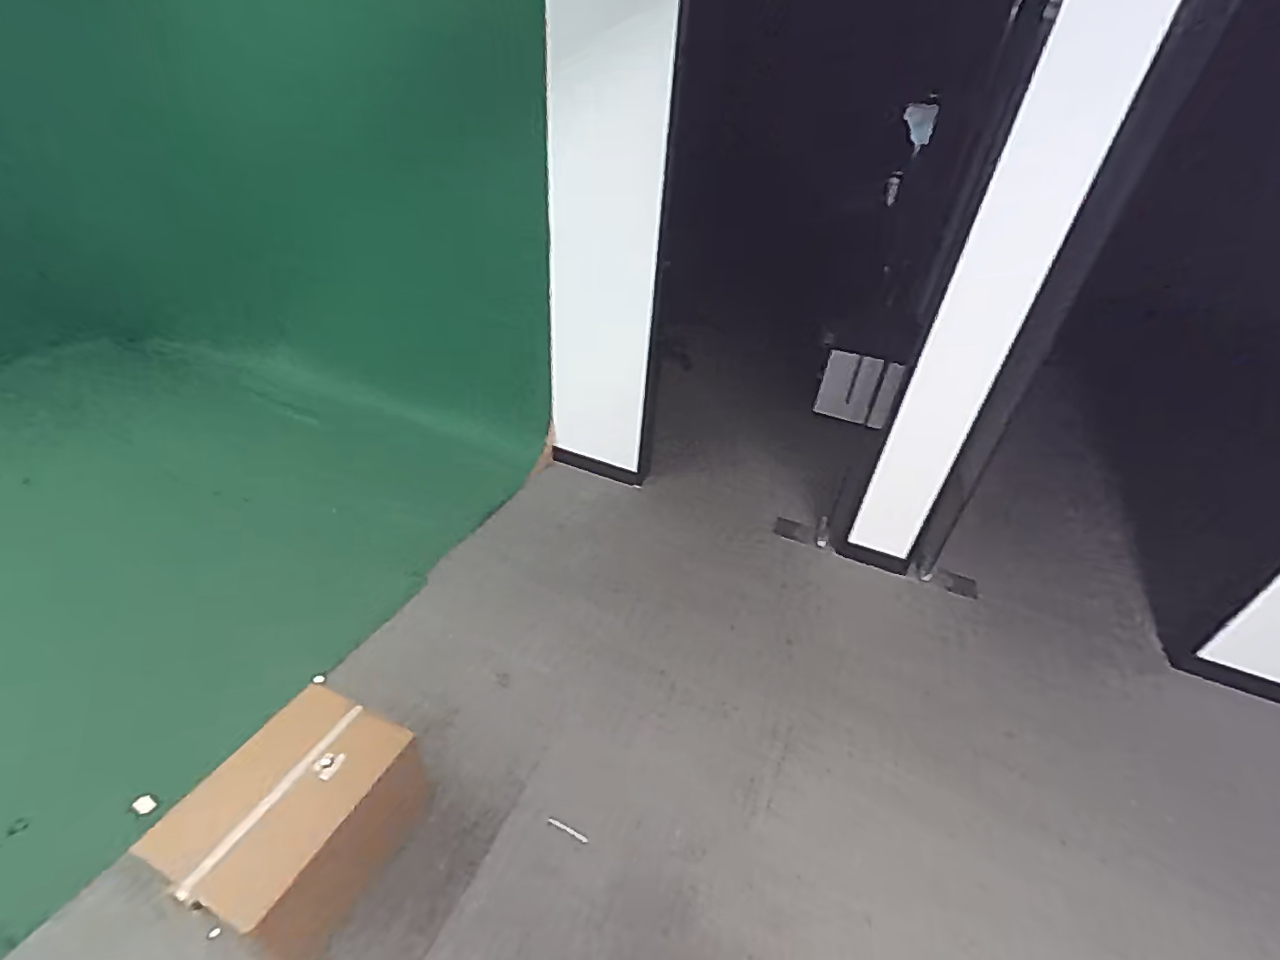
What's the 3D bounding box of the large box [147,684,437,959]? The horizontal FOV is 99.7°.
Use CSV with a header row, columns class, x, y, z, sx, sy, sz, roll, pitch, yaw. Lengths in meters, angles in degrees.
class,x,y,z,sx,sy,sz,roll,pitch,yaw
large box,-0.727,0.758,1.206,0.320,0.320,0.408,17,36,17
